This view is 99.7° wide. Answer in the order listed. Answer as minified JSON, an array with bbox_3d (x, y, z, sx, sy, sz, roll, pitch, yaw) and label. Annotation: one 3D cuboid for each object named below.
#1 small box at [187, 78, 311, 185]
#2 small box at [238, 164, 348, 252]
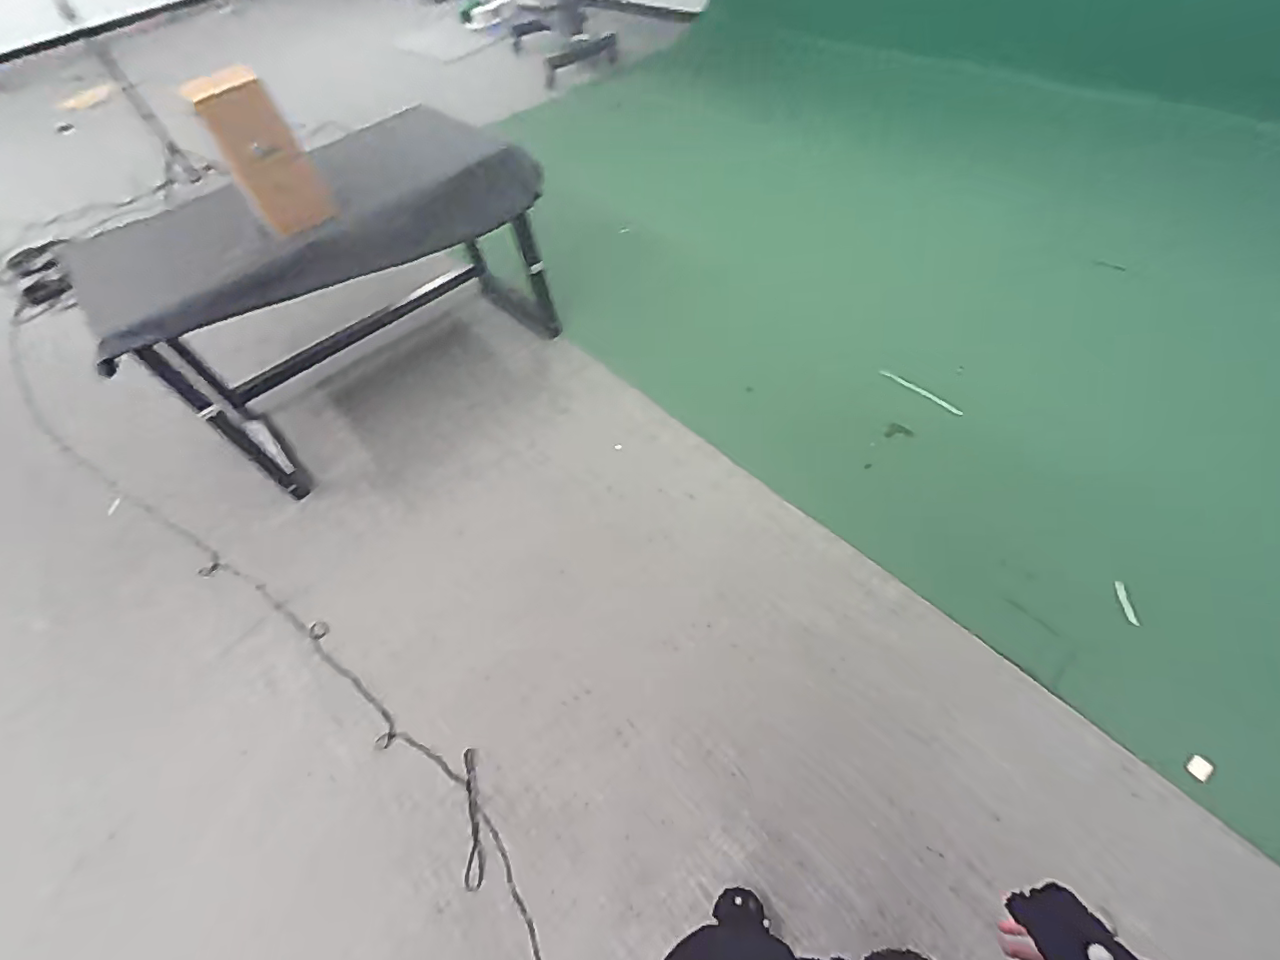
[{"bbox_3d":[-0.979,-0.875,1.362,0.168,0.176,0.179,-40,59,-19],"label":"small box"},{"bbox_3d":[-0.954,-0.763,1.499,0.179,0.176,0.168,-37,57,-20],"label":"small box"}]
